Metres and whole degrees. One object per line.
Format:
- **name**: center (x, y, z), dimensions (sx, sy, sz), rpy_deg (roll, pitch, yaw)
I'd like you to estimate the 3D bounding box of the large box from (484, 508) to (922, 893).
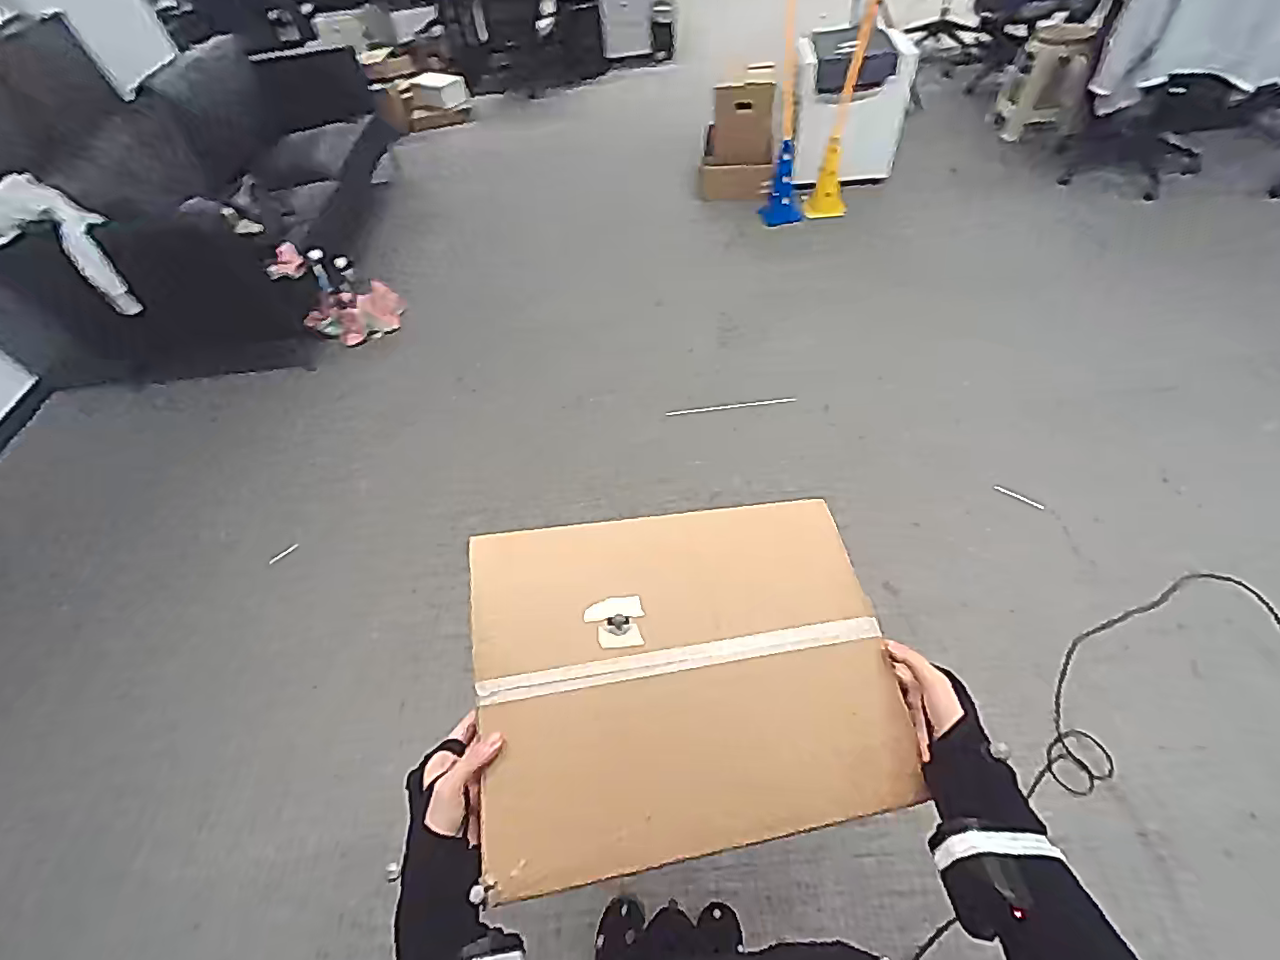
- **large box**: center (0.037, 0.255, 0.674), dimensions (0.408, 0.320, 0.320), rpy_deg (-5, 61, -10)
